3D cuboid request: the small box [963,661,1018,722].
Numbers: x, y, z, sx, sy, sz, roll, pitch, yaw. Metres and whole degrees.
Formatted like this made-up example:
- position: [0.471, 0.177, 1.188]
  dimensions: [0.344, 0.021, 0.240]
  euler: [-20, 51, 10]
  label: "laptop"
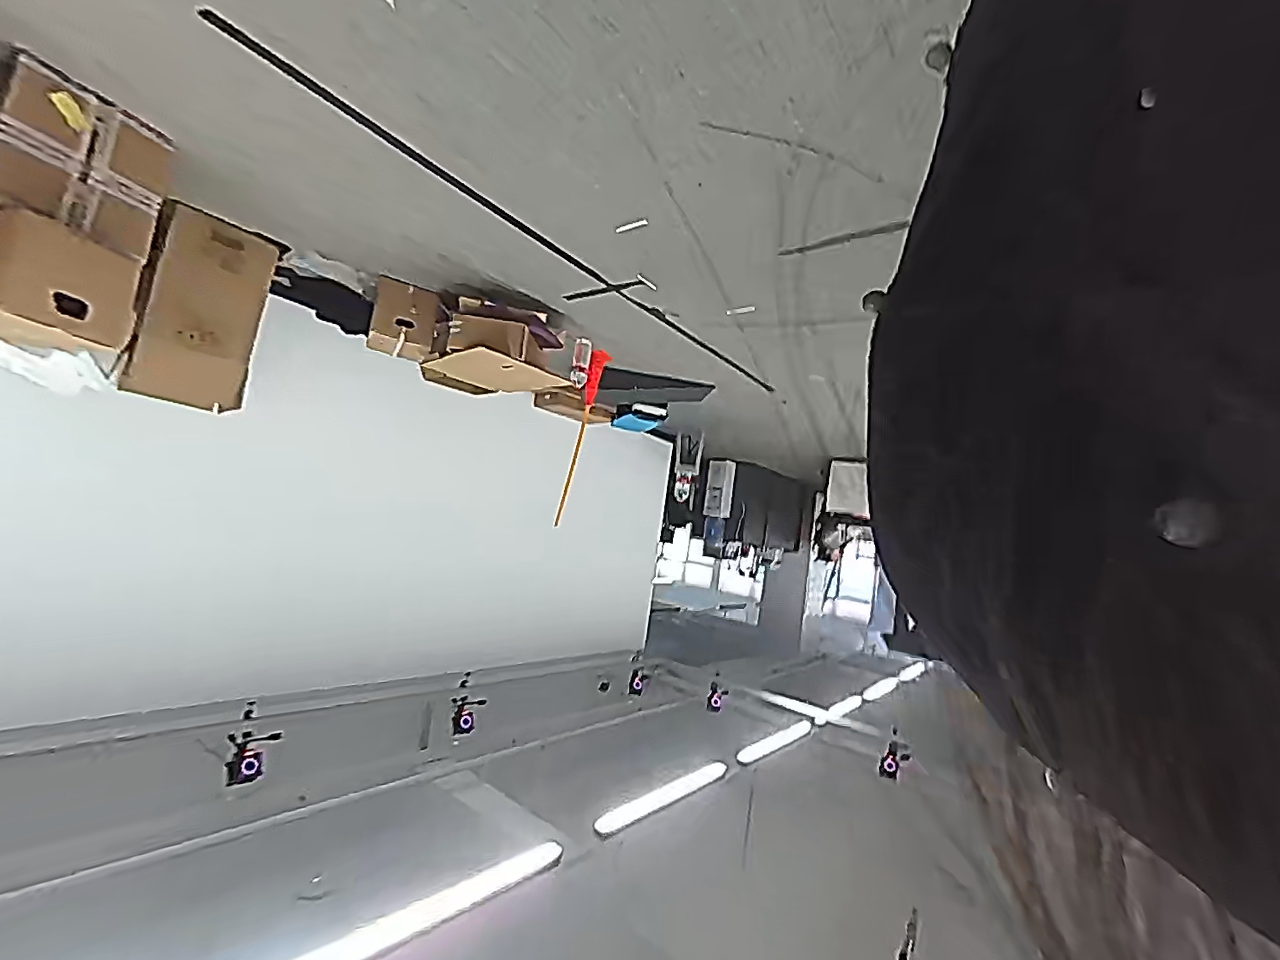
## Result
- position: [1.356, 0.809, 2.089]
  dimensions: [0.168, 0.176, 0.179]
  euler: [4, 175, 37]
  label: "small box"
